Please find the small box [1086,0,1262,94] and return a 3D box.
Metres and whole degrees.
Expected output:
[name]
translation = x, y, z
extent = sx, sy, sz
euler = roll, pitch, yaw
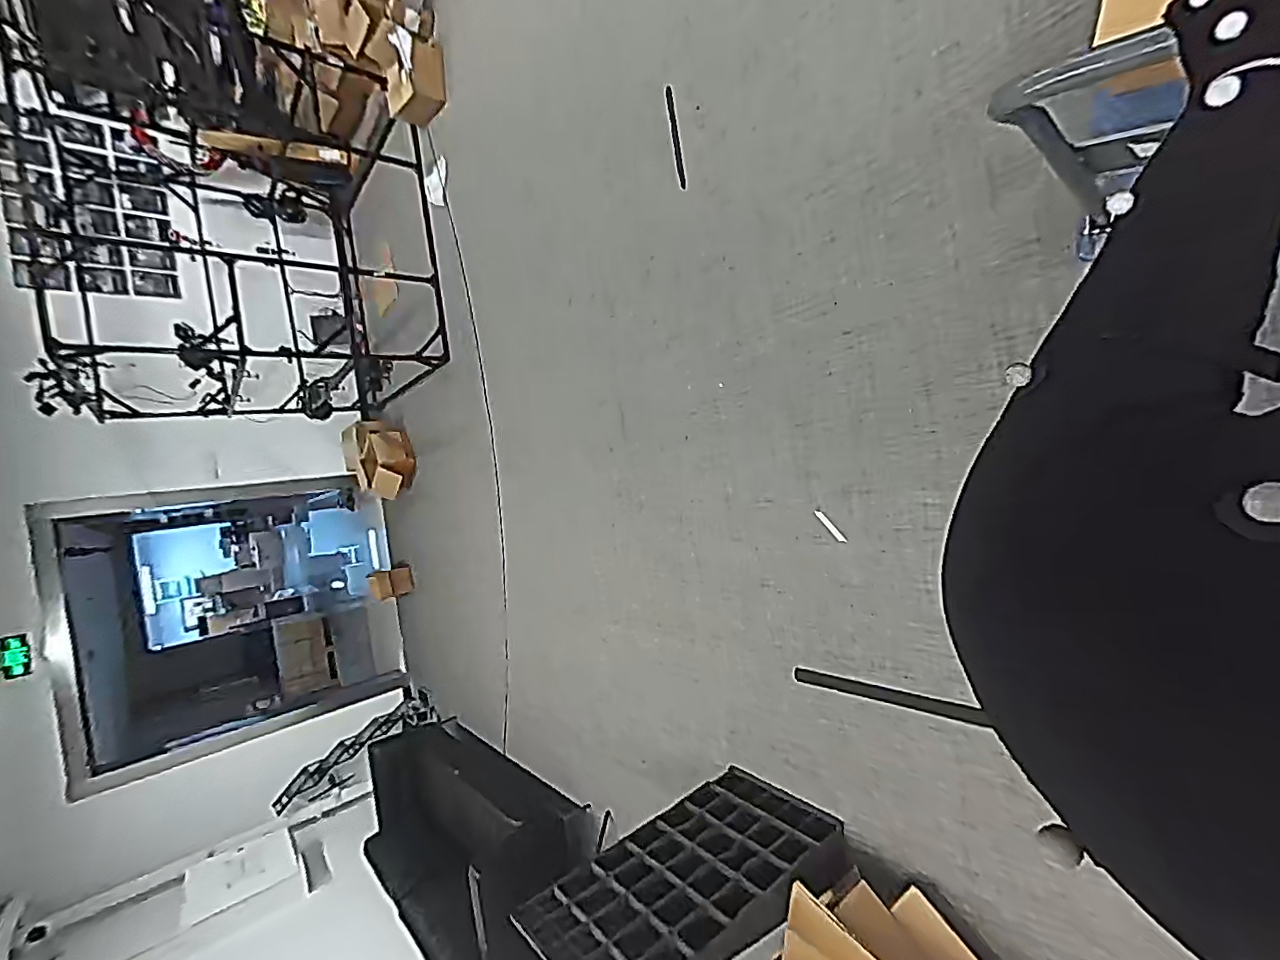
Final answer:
[small box]
translation = 0.844, -0.745, 0.847
extent = 0.179, 0.176, 0.168
euler = 18, 109, 46
